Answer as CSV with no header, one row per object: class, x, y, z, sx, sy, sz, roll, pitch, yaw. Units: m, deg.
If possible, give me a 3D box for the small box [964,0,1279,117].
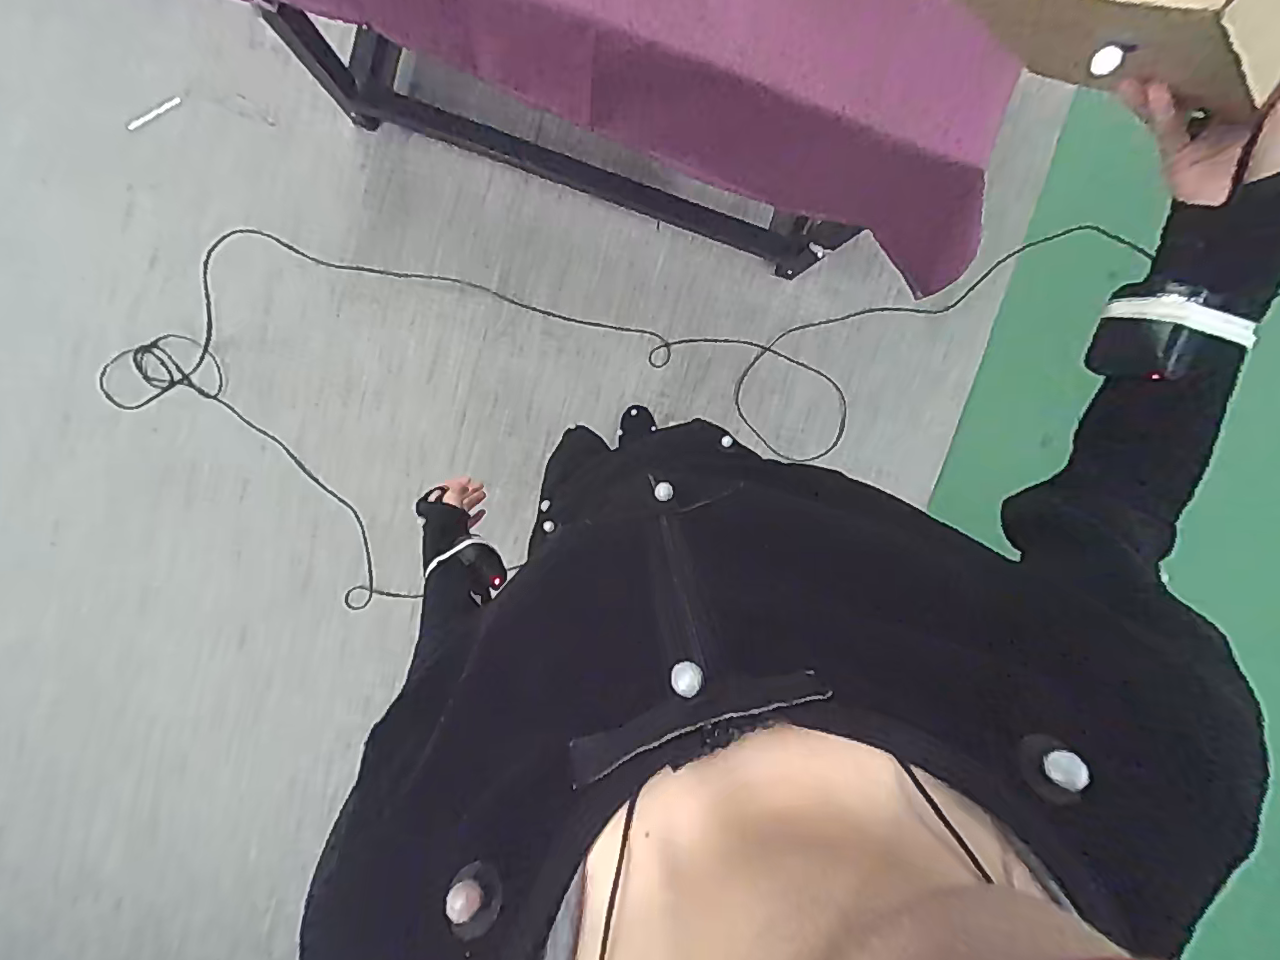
small box,0.322,-0.341,0.305,0.179,0.176,0.168,-5,133,-35
